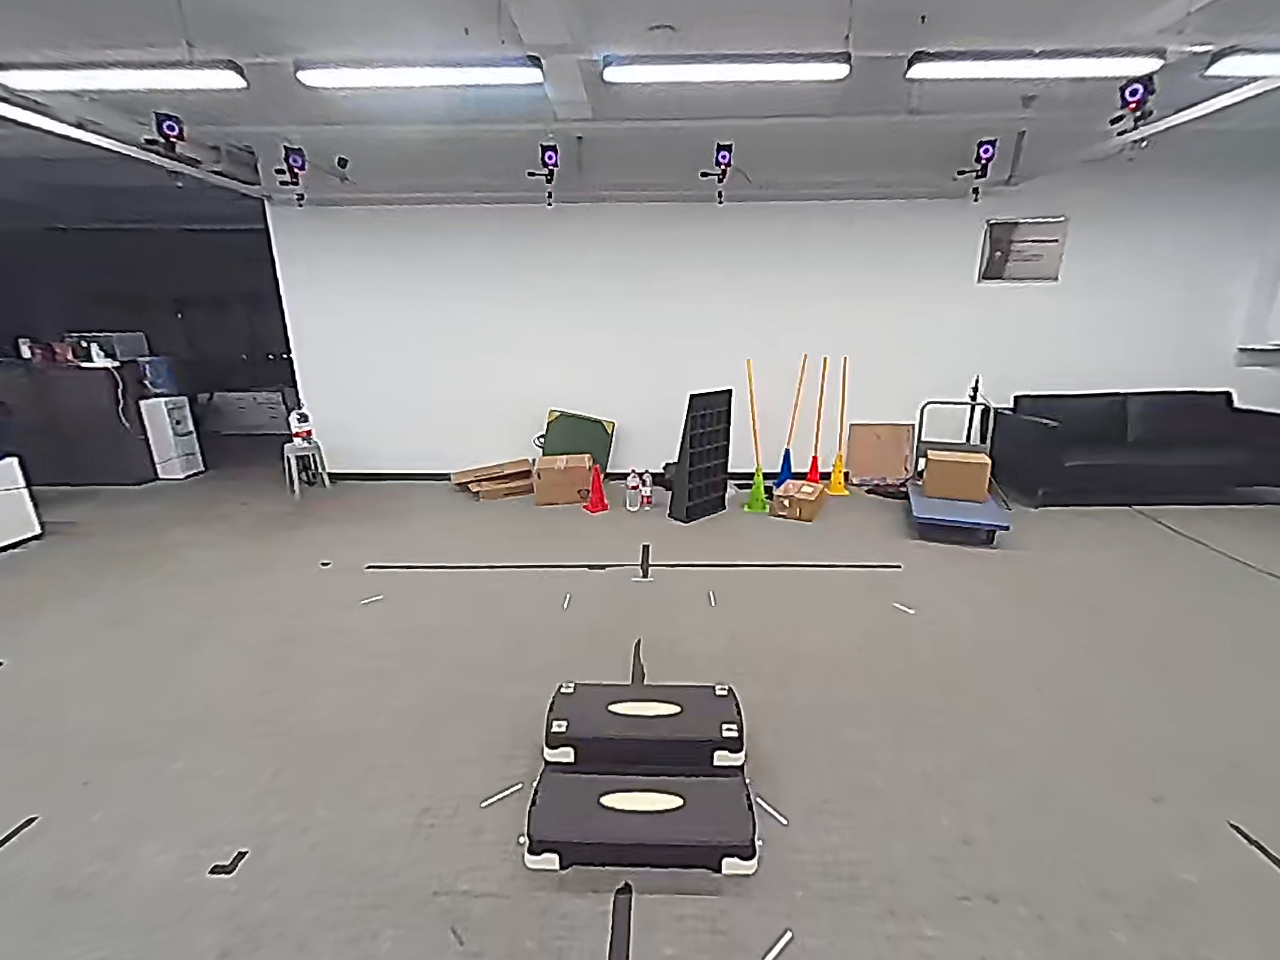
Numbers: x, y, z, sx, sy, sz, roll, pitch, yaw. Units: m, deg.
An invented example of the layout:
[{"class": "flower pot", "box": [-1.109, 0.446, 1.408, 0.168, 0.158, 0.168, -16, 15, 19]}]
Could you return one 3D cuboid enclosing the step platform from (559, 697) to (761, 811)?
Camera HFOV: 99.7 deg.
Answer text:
[{"class": "step platform", "box": [0.070, 0.932, 1.872, 0.684, 0.204, 0.286, 1, 15, 6]}]
